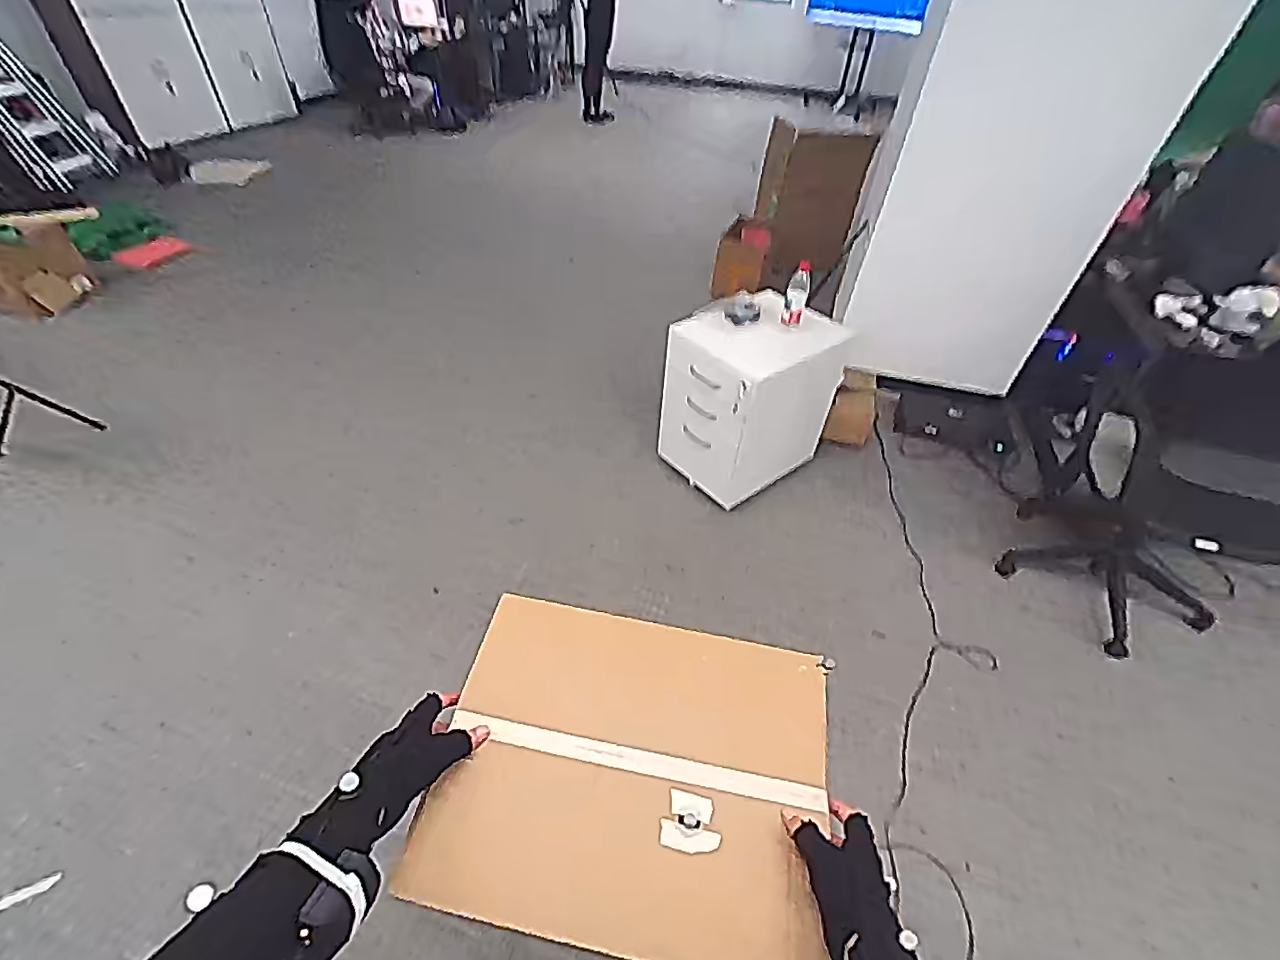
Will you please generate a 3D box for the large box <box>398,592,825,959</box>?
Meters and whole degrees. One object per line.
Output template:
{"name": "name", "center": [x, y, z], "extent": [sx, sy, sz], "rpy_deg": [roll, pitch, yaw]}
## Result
{"name": "large box", "center": [-0.014, 0.383, 0.694], "extent": [0.408, 0.320, 0.320], "rpy_deg": [10, 52, 5]}
